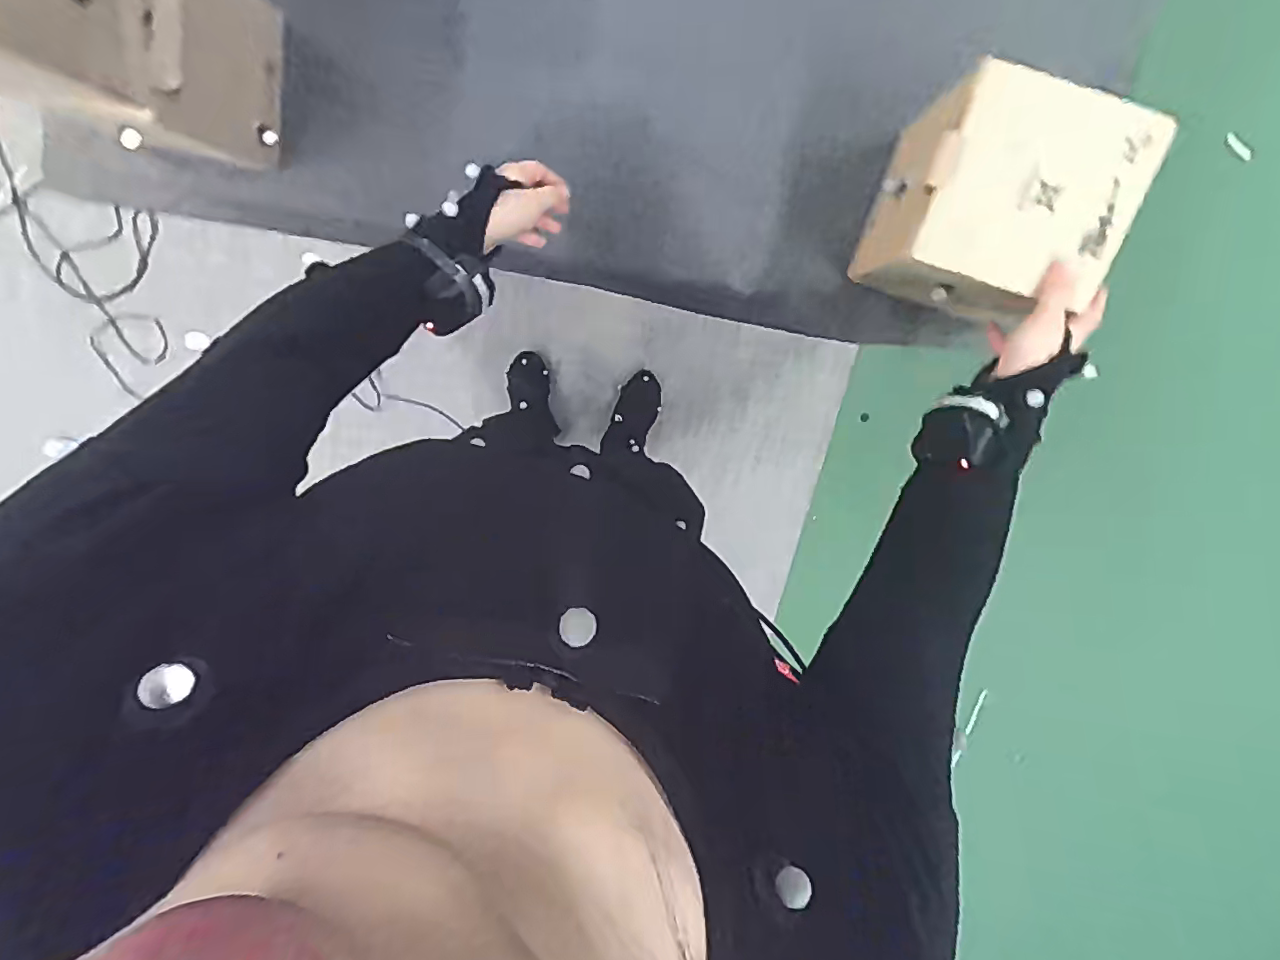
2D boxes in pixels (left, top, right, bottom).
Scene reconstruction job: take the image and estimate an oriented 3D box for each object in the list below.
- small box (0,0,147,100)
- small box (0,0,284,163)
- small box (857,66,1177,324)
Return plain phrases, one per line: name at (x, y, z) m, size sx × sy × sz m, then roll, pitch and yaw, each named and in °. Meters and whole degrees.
small box at (-0.529, -0.414, 0.400) m, size 0.179 × 0.176 × 0.168 m, roll 9°, pitch 106°, yaw 1°
small box at (-0.505, -0.450, 0.557) m, size 0.179 × 0.176 × 0.168 m, roll 13°, pitch 106°, yaw 0°
small box at (0.352, -0.264, 0.550) m, size 0.179 × 0.176 × 0.168 m, roll 18°, pitch 103°, yaw -2°
